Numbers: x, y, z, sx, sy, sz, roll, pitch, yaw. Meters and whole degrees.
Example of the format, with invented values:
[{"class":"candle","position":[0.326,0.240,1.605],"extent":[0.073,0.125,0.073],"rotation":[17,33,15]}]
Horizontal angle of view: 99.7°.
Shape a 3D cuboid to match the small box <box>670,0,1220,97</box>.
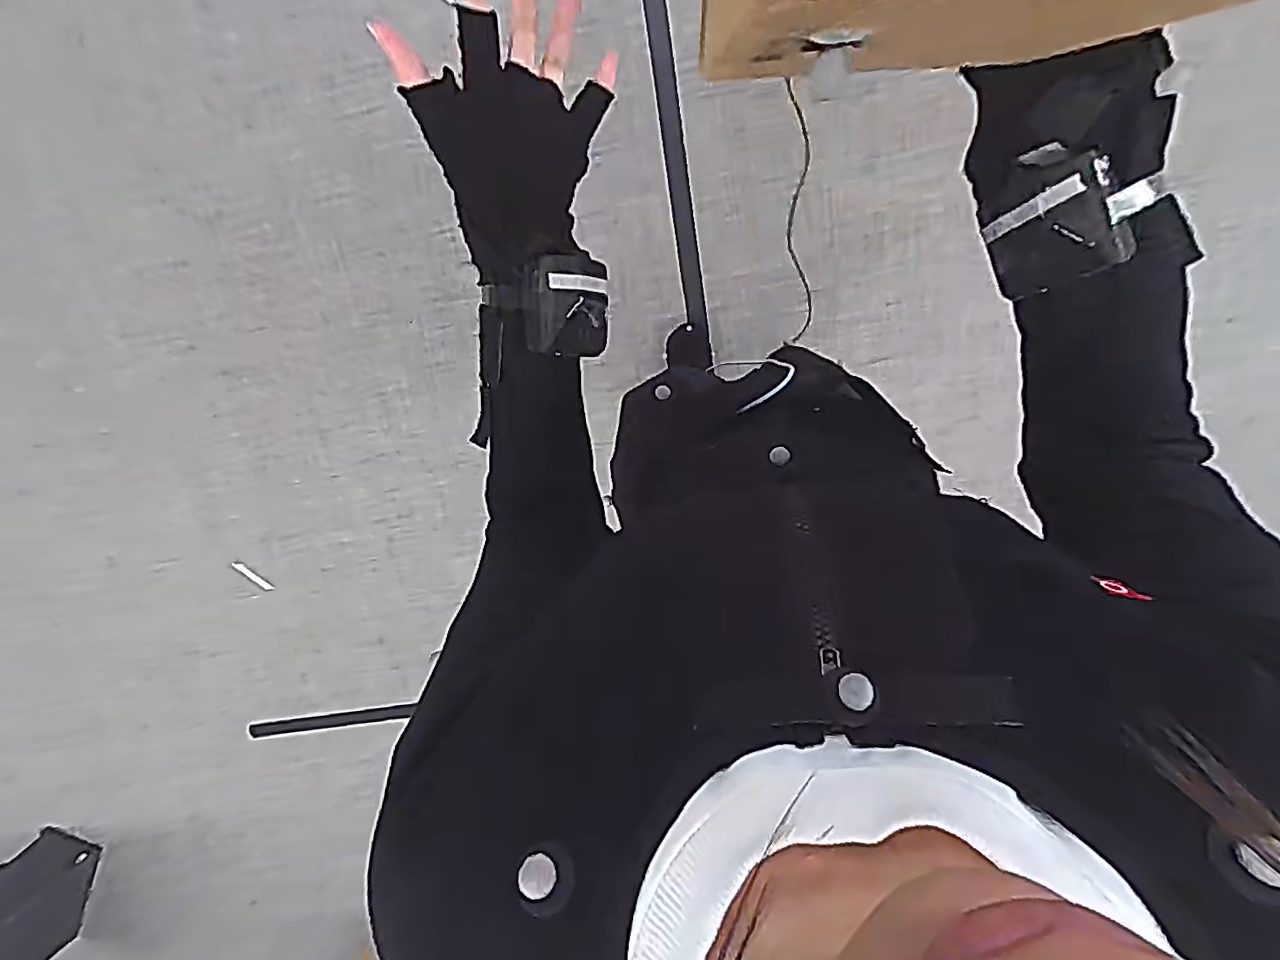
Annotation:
[{"class":"small box","position":[0.095,-0.247,0.177],"extent":[0.176,0.168,0.179],"rotation":[-2,120,3]}]
